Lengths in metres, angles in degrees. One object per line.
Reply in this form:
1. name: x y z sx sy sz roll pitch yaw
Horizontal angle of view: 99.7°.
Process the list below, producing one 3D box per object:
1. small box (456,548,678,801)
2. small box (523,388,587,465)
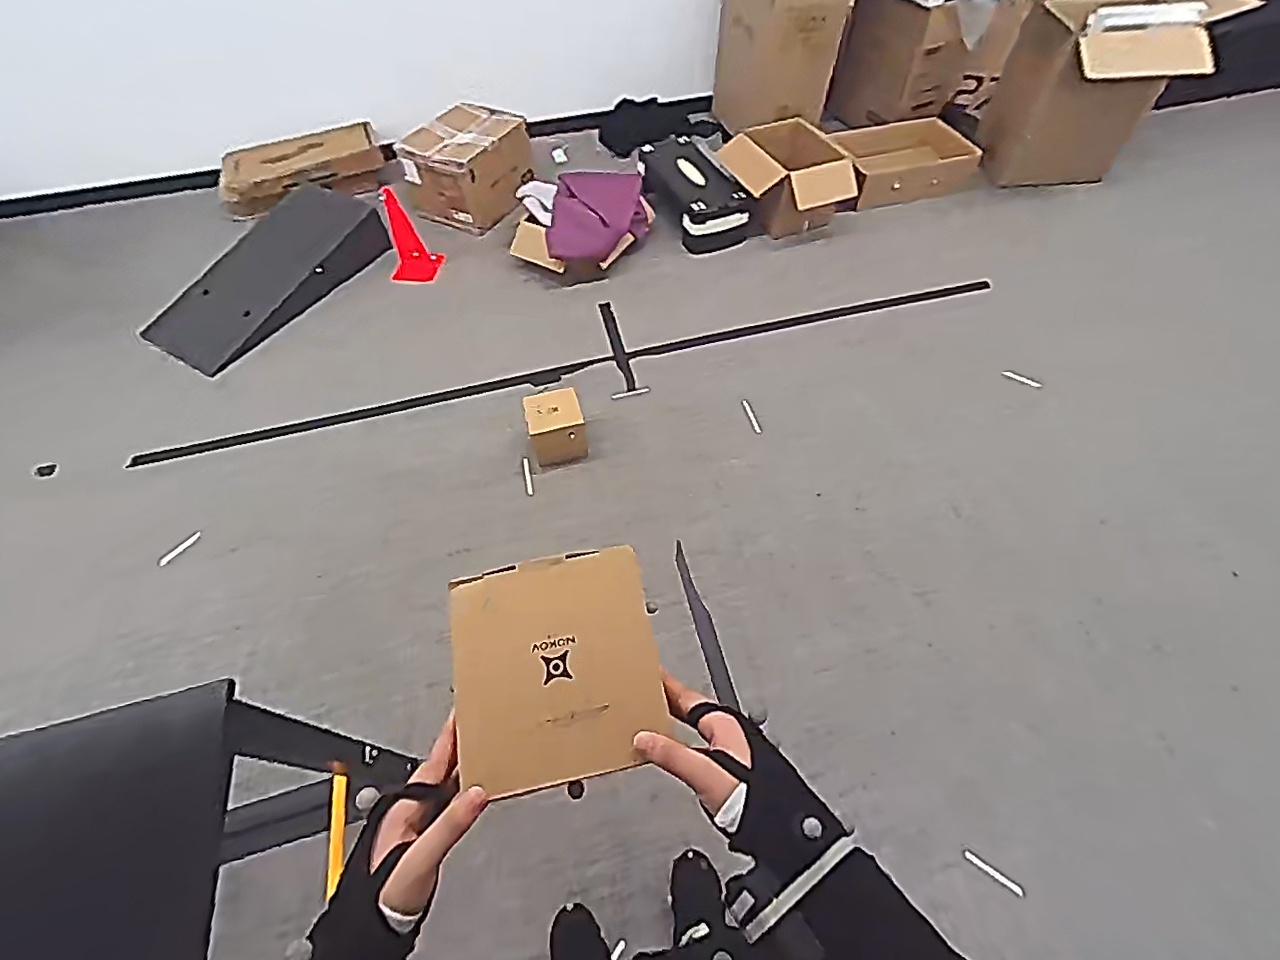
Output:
1. small box: -0.067 0.184 0.515 0.168 0.176 0.179 -10 65 -5
2. small box: -0.277 -0.175 1.800 0.179 0.176 0.168 -14 57 -7
